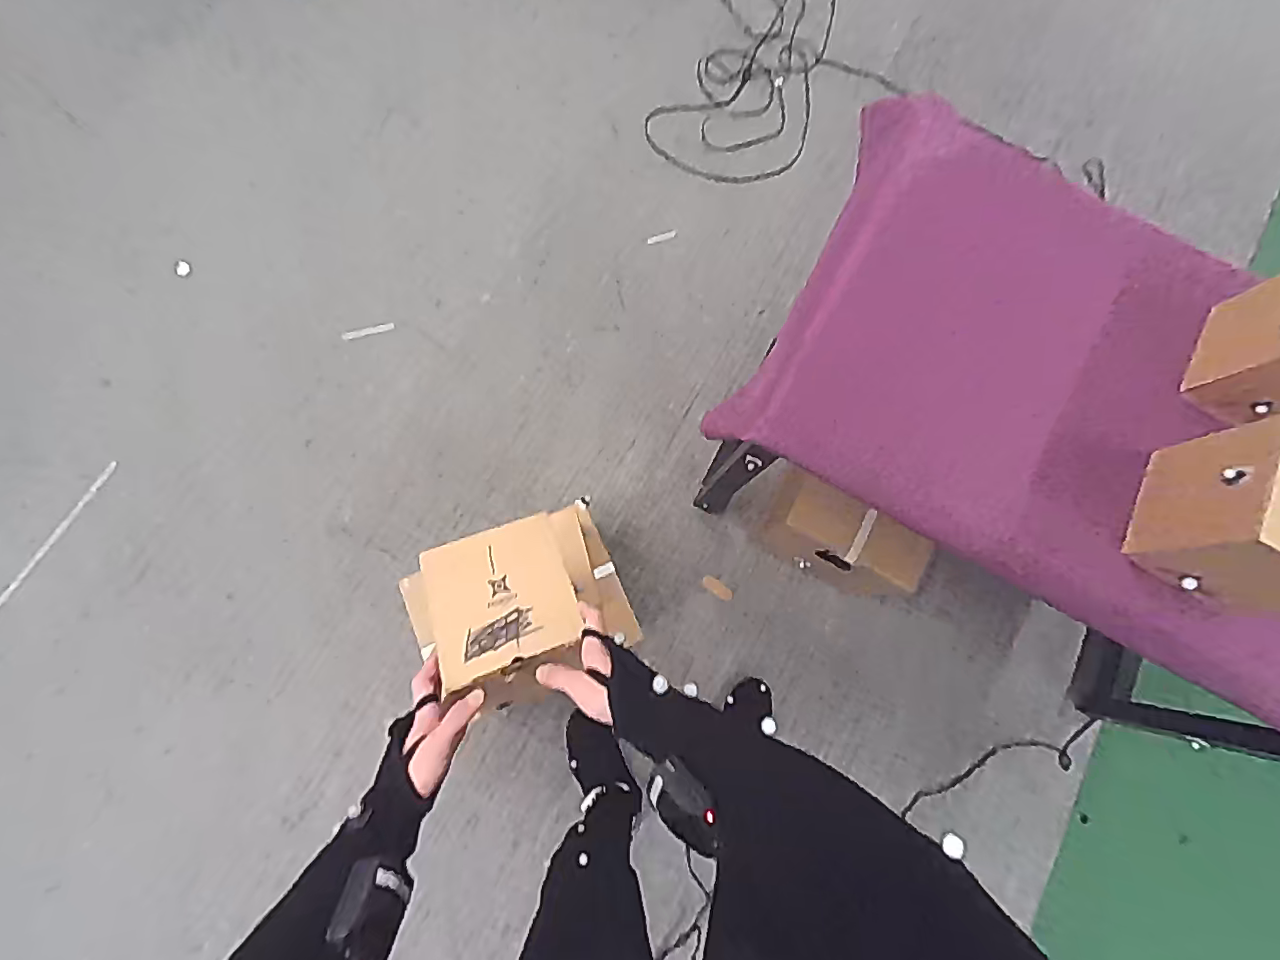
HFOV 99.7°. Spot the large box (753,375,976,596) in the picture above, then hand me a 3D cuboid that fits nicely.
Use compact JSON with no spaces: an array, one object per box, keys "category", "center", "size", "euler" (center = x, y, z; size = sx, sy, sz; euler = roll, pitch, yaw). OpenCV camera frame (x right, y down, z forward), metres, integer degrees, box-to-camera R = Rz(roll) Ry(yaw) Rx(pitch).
[{"category":"large box","center":[0.526,0.033,1.326],"size":[0.320,0.320,0.408],"euler":[29,76,3]}]

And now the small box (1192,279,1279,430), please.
[{"category":"small box","center":[0.908,-0.175,0.719],"size":[0.168,0.176,0.179],"euler":[31,78,3]}]

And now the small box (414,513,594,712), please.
[{"category":"small box","center":[-0.164,0.176,0.685],"size":[0.168,0.176,0.179],"euler":[-18,58,-11]}]

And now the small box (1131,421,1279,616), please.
[{"category":"small box","center":[0.761,0.049,0.656],"size":[0.168,0.176,0.179],"euler":[31,76,4]}]
